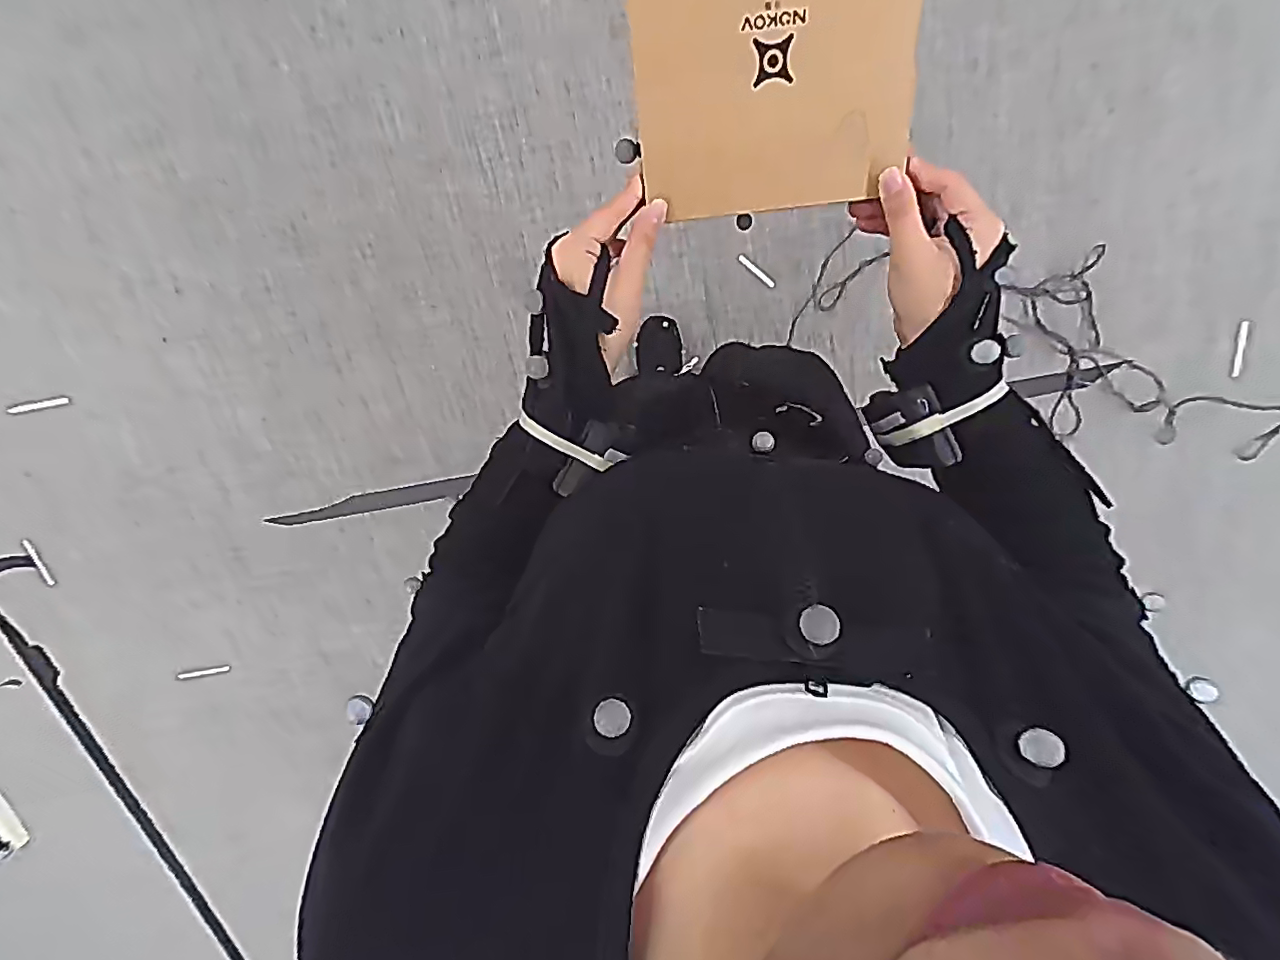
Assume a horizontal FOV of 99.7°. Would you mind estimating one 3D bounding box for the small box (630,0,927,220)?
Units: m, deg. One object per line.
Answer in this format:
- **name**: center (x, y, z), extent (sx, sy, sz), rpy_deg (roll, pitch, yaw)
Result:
- **small box**: center (0.081, -0.290, 0.379), extent (0.168, 0.176, 0.179), rpy_deg (-5, 117, 4)
